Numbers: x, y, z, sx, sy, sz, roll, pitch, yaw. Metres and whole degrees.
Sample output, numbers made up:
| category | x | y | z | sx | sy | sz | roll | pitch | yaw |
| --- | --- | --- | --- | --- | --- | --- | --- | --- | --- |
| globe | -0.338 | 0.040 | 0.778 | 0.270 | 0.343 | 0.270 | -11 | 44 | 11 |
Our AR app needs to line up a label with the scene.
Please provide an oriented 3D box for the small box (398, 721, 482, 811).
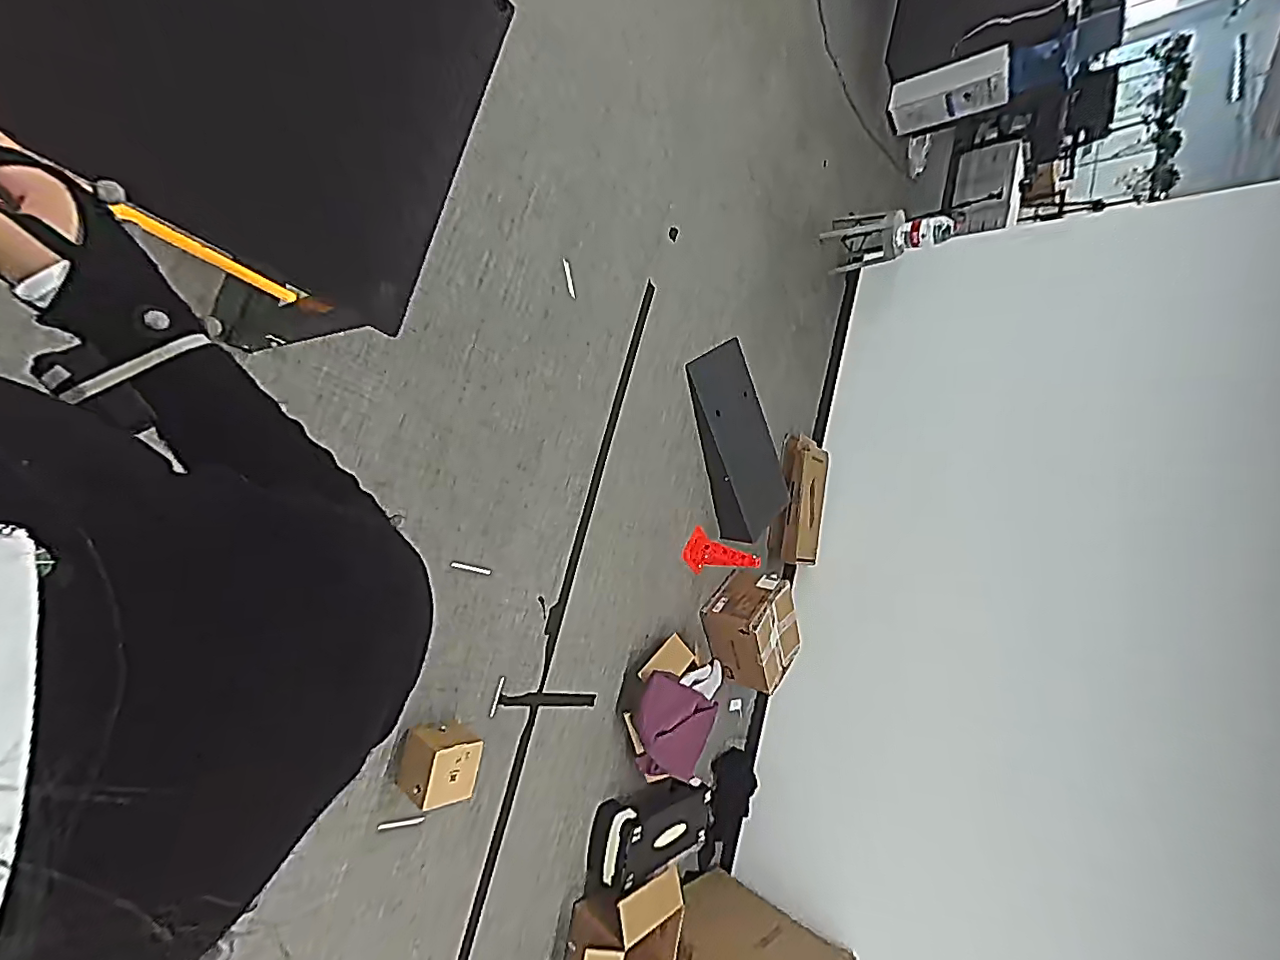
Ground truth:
| category | x | y | z | sx | sy | sz | roll | pitch | yaw |
| --- | --- | --- | --- | --- | --- | --- | --- | --- | --- |
| small box | -0.616 | 0.866 | 1.654 | 0.168 | 0.176 | 0.179 | 17 | 82 | -50 |
